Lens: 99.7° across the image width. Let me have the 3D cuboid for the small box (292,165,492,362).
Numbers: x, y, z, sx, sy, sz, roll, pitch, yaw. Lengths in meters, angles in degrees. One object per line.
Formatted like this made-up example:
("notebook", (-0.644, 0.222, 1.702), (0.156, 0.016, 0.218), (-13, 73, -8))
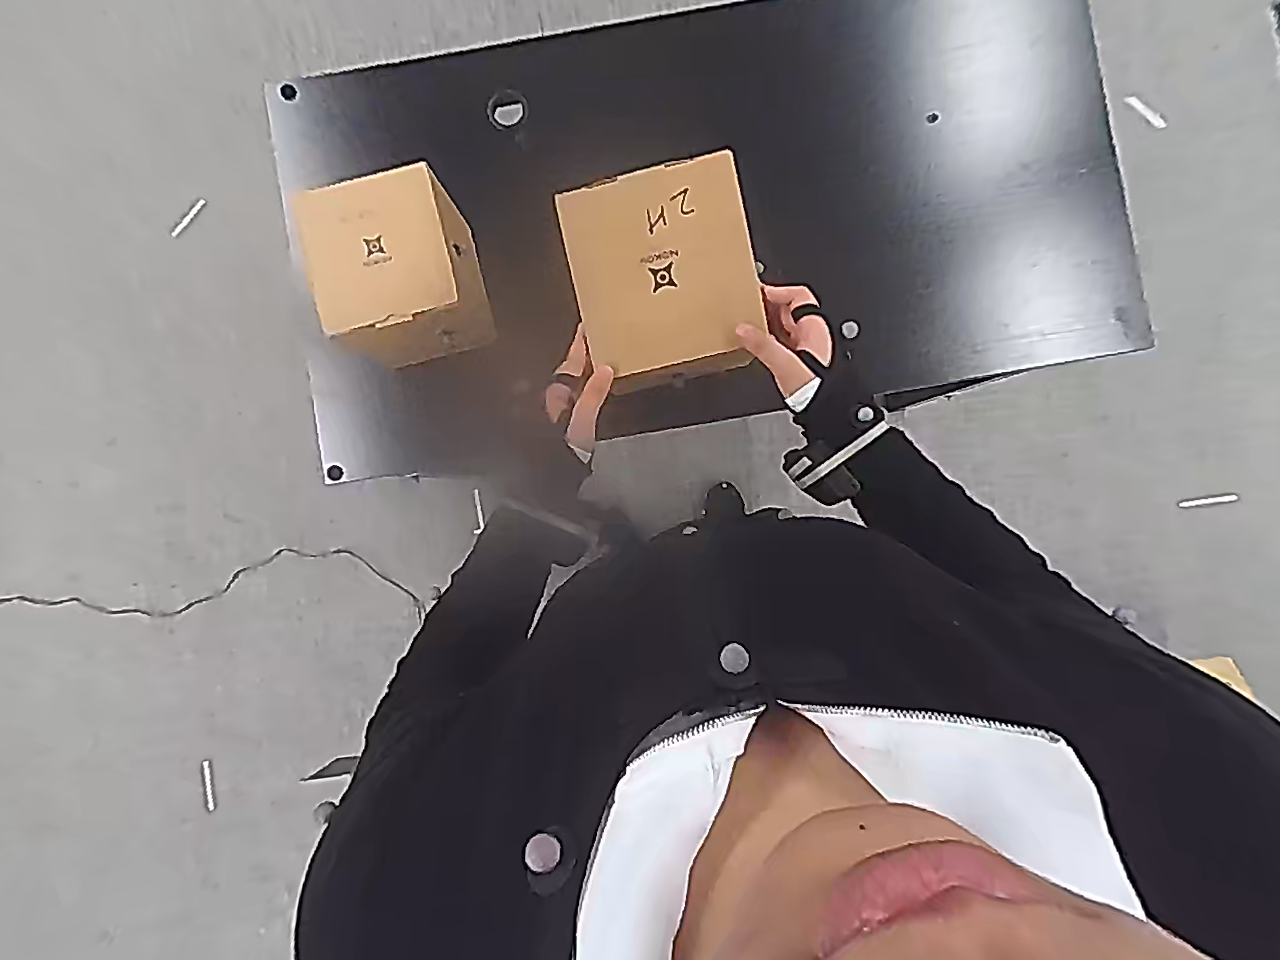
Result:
("small box", (-0.309, -0.266, 0.712), (0.168, 0.176, 0.179), (-15, 88, -1))

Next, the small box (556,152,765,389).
("small box", (0.024, -0.198, 0.569), (0.168, 0.176, 0.179), (-12, 93, 4))
